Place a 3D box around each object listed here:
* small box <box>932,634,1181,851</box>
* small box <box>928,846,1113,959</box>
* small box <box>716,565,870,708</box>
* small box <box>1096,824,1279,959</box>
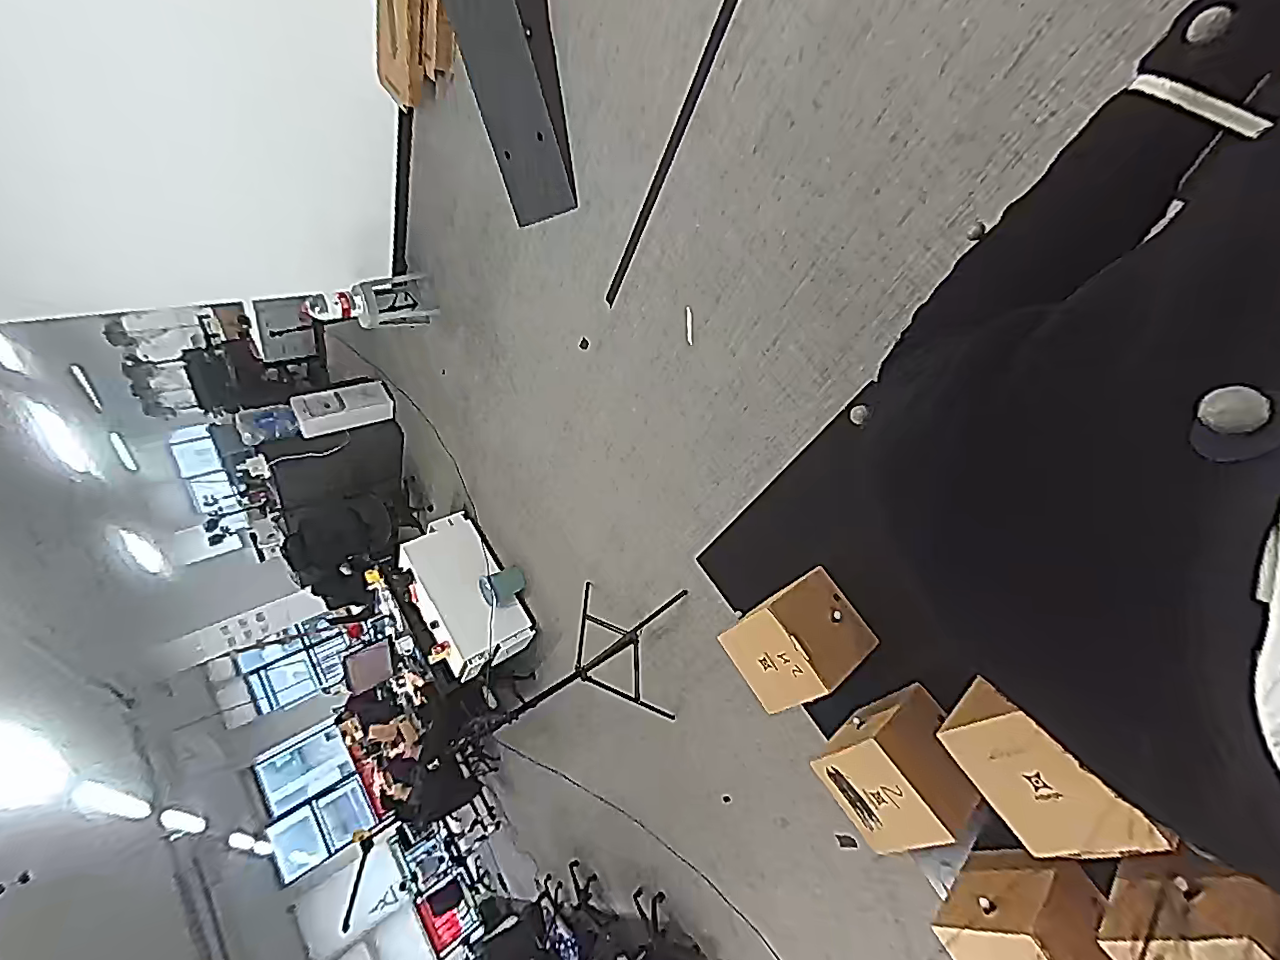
[{"bbox_3d":[0.534,0.334,0.698,0.179,0.176,0.168,54,141,19],"label":"small box"},{"bbox_3d":[0.588,0.684,0.811,0.168,0.176,0.179,55,141,17],"label":"small box"},{"bbox_3d":[0.279,0.284,0.990,0.168,0.176,0.179,55,142,16],"label":"small box"},{"bbox_3d":[0.680,0.527,0.611,0.168,0.176,0.179,50,140,22],"label":"small box"}]
